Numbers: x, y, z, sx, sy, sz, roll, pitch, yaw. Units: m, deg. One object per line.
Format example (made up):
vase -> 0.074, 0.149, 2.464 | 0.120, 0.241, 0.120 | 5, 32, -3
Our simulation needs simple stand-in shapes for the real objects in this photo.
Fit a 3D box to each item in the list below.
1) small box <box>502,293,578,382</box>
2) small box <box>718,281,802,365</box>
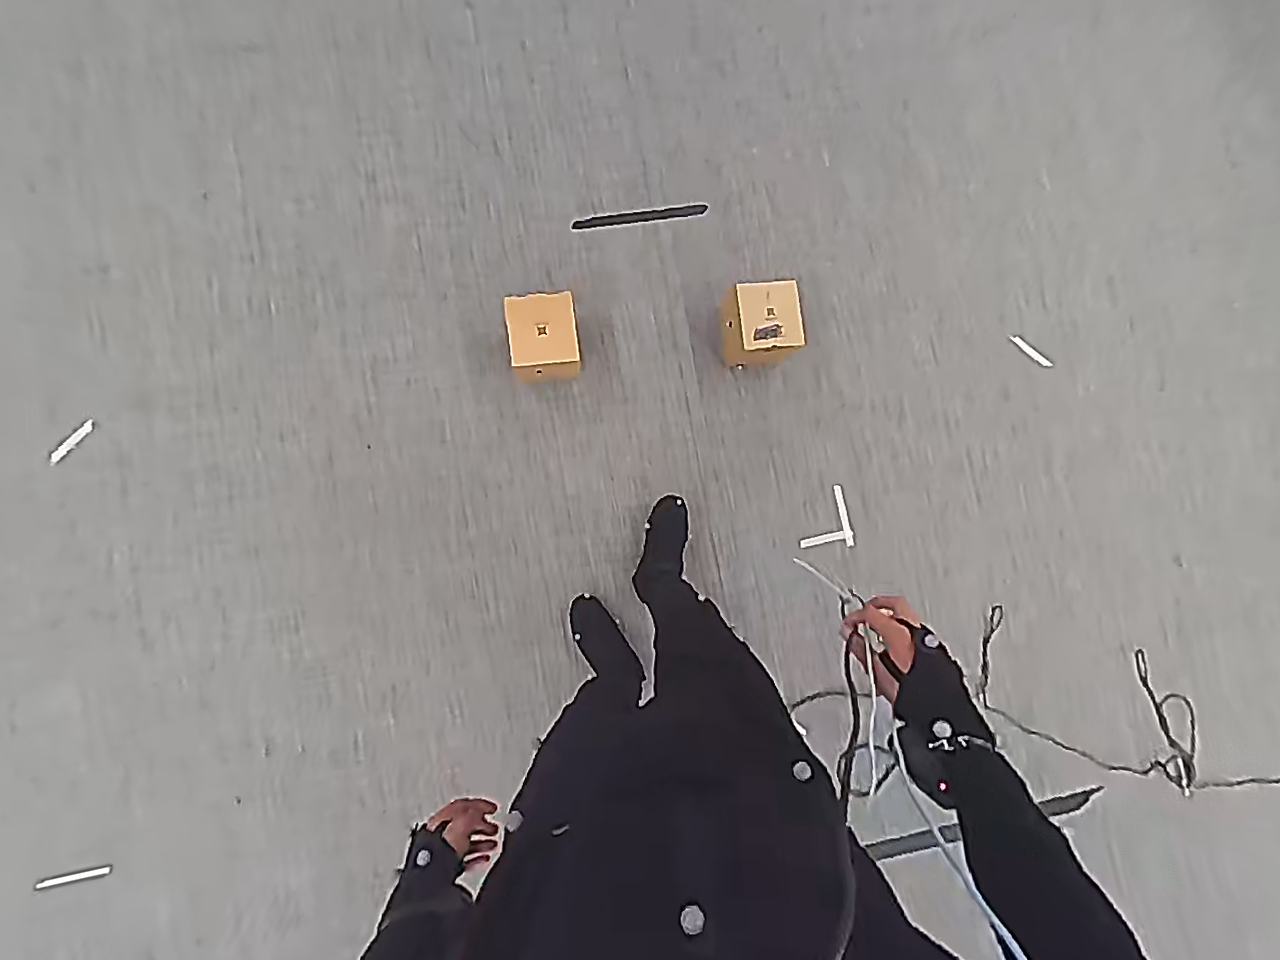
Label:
small box -> -0.251, -0.357, 1.385 | 0.168, 0.176, 0.179 | -8, 86, -7
small box -> 0.316, -0.414, 1.454 | 0.168, 0.176, 0.179 | -6, 86, -8
